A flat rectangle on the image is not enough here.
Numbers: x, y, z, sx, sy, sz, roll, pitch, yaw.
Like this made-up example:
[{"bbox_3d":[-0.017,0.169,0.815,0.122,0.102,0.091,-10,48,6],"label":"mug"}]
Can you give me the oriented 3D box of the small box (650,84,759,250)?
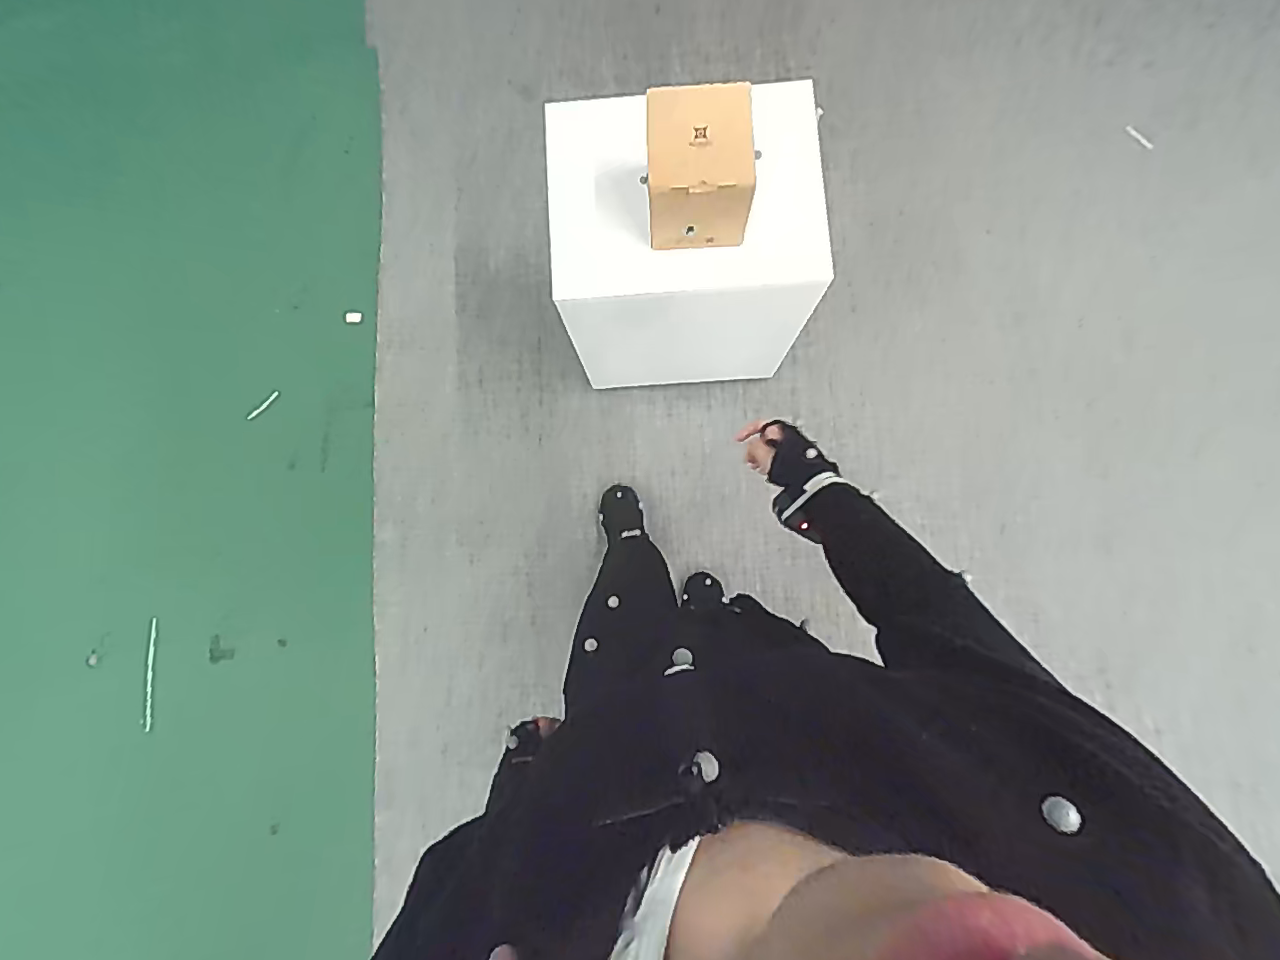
[{"bbox_3d":[0.100,-0.514,0.904,0.168,0.176,0.179,-2,82,3],"label":"small box"}]
